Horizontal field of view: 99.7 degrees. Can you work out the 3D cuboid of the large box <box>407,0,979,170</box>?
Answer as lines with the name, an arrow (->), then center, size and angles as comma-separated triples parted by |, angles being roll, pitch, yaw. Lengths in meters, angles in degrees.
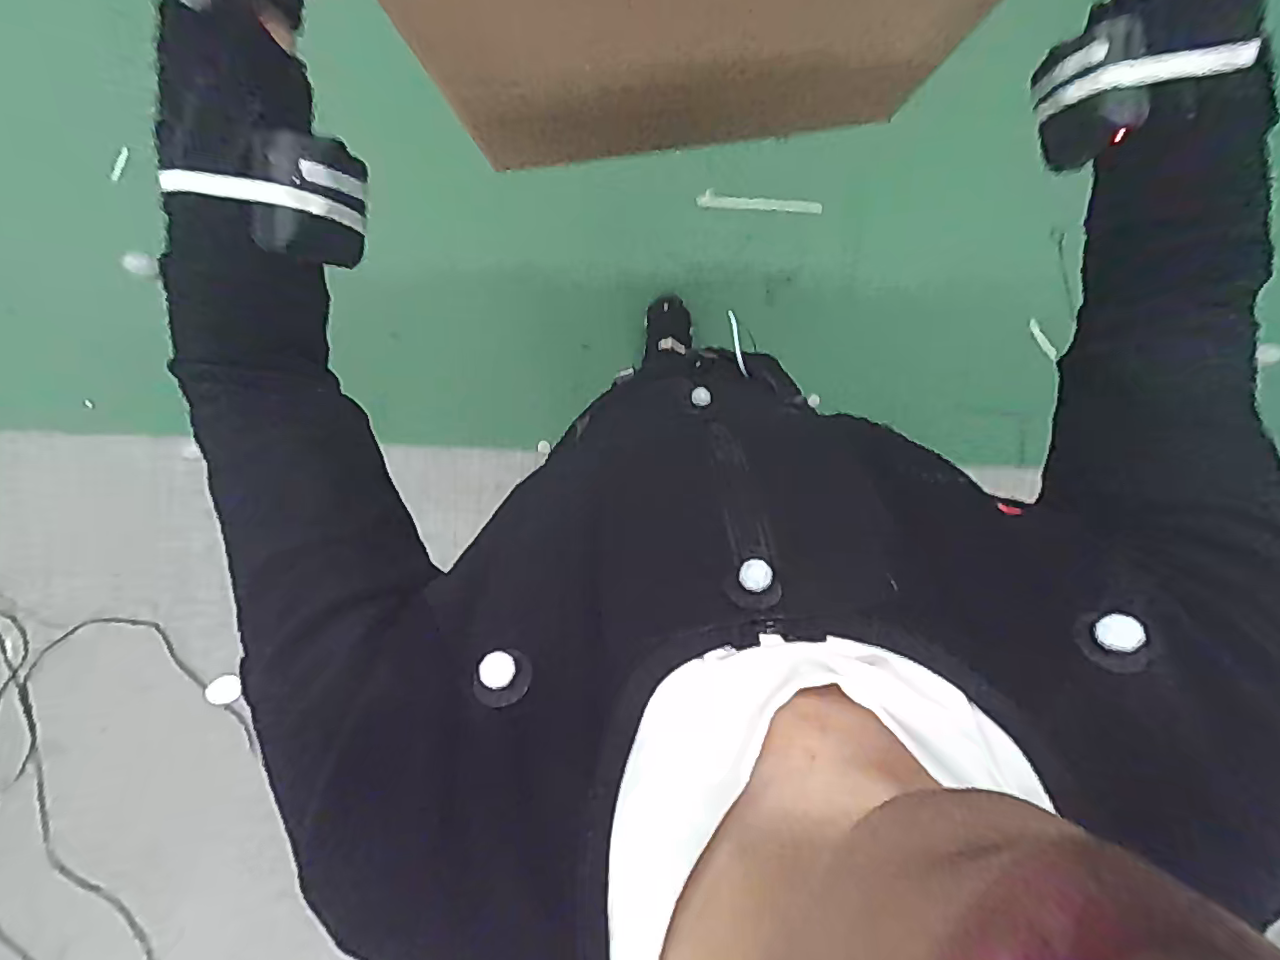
large box -> 0.033, -0.468, 0.384 | 0.408, 0.320, 0.320 | -8, 100, 0
